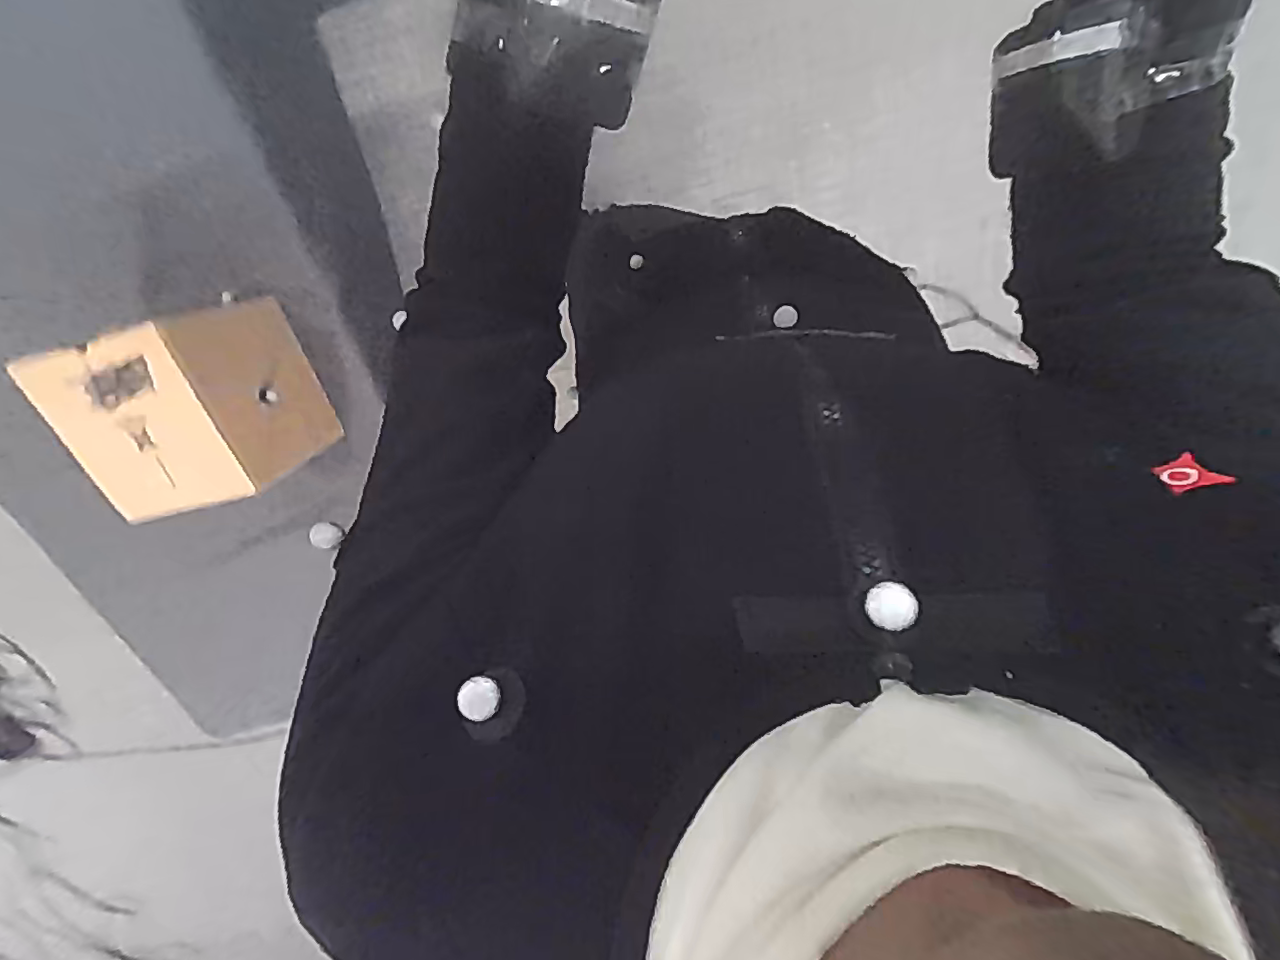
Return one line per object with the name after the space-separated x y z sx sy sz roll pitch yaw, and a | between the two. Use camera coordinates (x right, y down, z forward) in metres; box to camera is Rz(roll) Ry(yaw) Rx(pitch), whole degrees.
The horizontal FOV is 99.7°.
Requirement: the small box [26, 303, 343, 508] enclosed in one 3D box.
-0.480 -0.092 0.604 0.168 0.176 0.179 -8 116 10 | small box
